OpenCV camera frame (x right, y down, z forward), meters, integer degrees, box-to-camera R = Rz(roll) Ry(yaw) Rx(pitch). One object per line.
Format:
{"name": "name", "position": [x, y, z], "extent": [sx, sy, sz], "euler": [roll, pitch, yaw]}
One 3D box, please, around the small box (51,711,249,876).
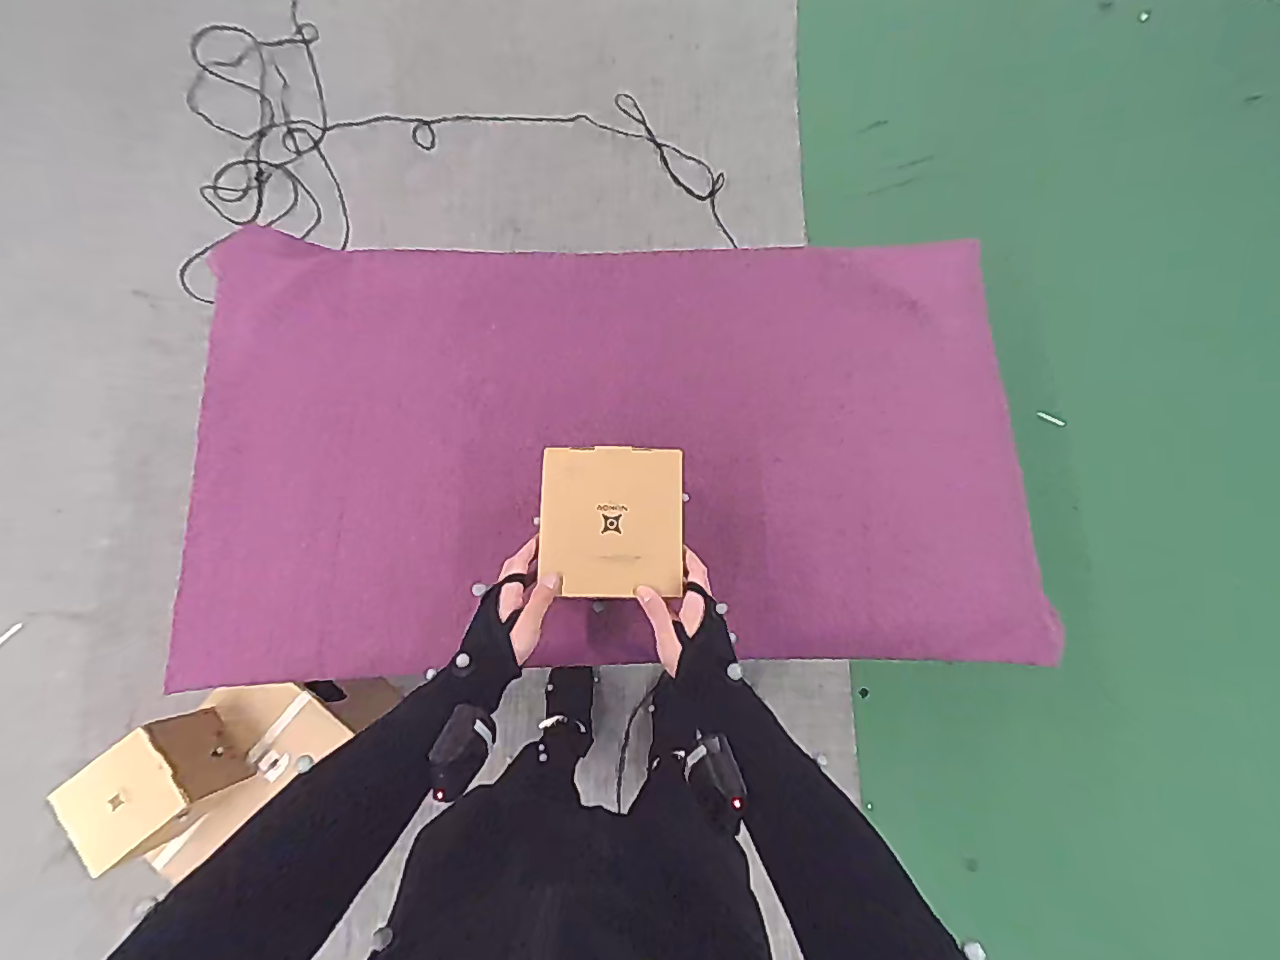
{"name": "small box", "position": [-0.876, 0.554, 0.984], "extent": [0.179, 0.176, 0.168], "euler": [-39, 80, -10]}

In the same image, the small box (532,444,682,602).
{"name": "small box", "position": [-0.037, 0.063, 0.688], "extent": [0.168, 0.176, 0.179], "euler": [1, 77, -1]}
